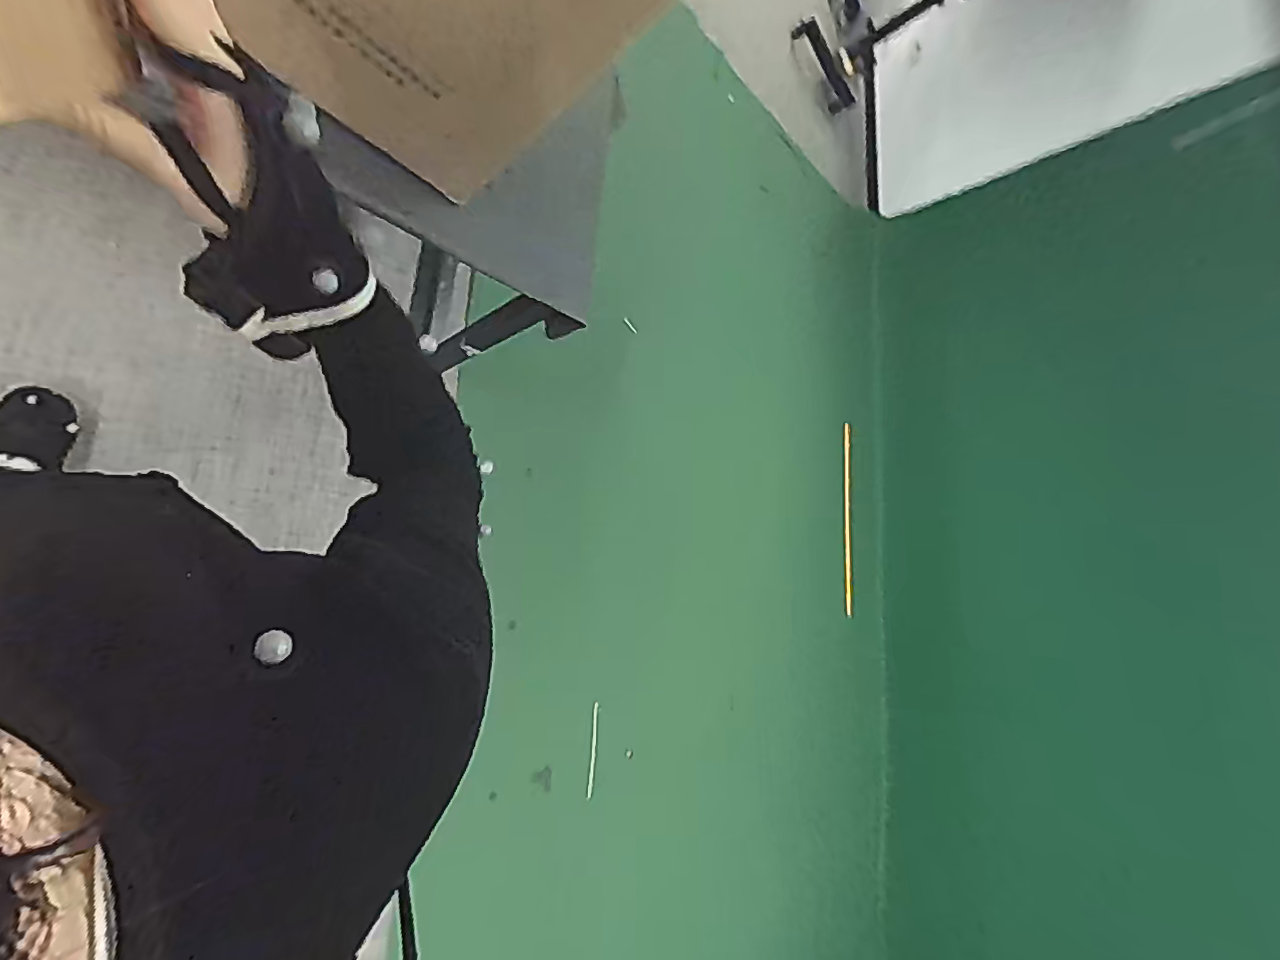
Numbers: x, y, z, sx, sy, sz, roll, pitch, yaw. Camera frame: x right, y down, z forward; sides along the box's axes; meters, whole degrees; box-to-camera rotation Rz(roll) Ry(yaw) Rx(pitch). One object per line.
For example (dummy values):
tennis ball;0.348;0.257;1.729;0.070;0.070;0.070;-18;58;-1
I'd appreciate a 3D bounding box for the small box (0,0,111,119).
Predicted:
small box;-0.254;-0.199;0.111;0.179;0.176;0.168;-6;129;-28
